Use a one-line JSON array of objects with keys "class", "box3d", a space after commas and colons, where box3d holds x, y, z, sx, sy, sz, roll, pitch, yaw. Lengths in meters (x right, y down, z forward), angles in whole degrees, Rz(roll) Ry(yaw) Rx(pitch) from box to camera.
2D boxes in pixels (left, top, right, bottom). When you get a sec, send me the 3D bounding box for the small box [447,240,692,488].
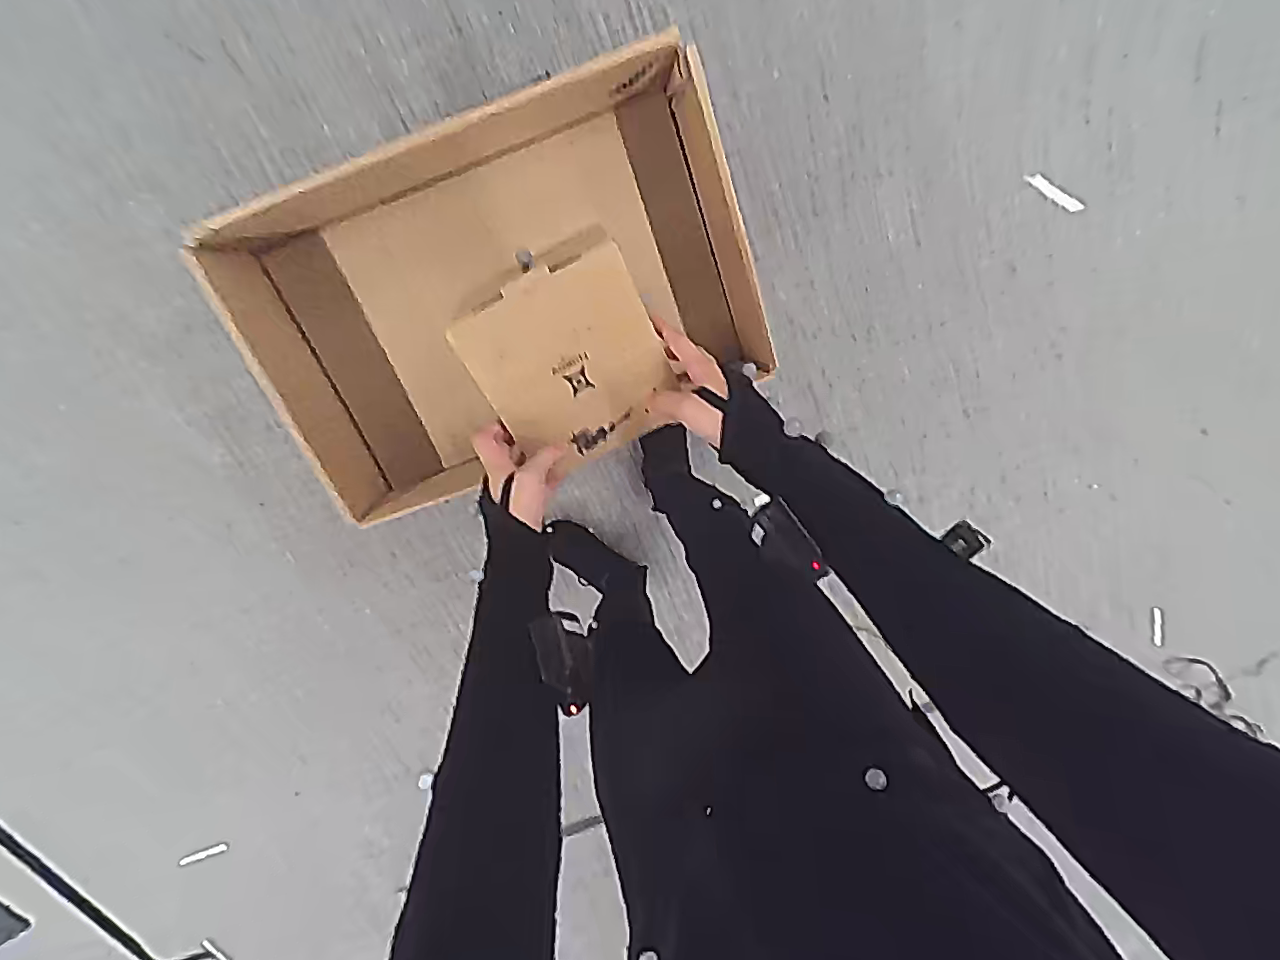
[{"class": "small box", "box3d": [-0.069, -0.129, 0.556, 0.168, 0.176, 0.179, -26, 119, 5]}]
